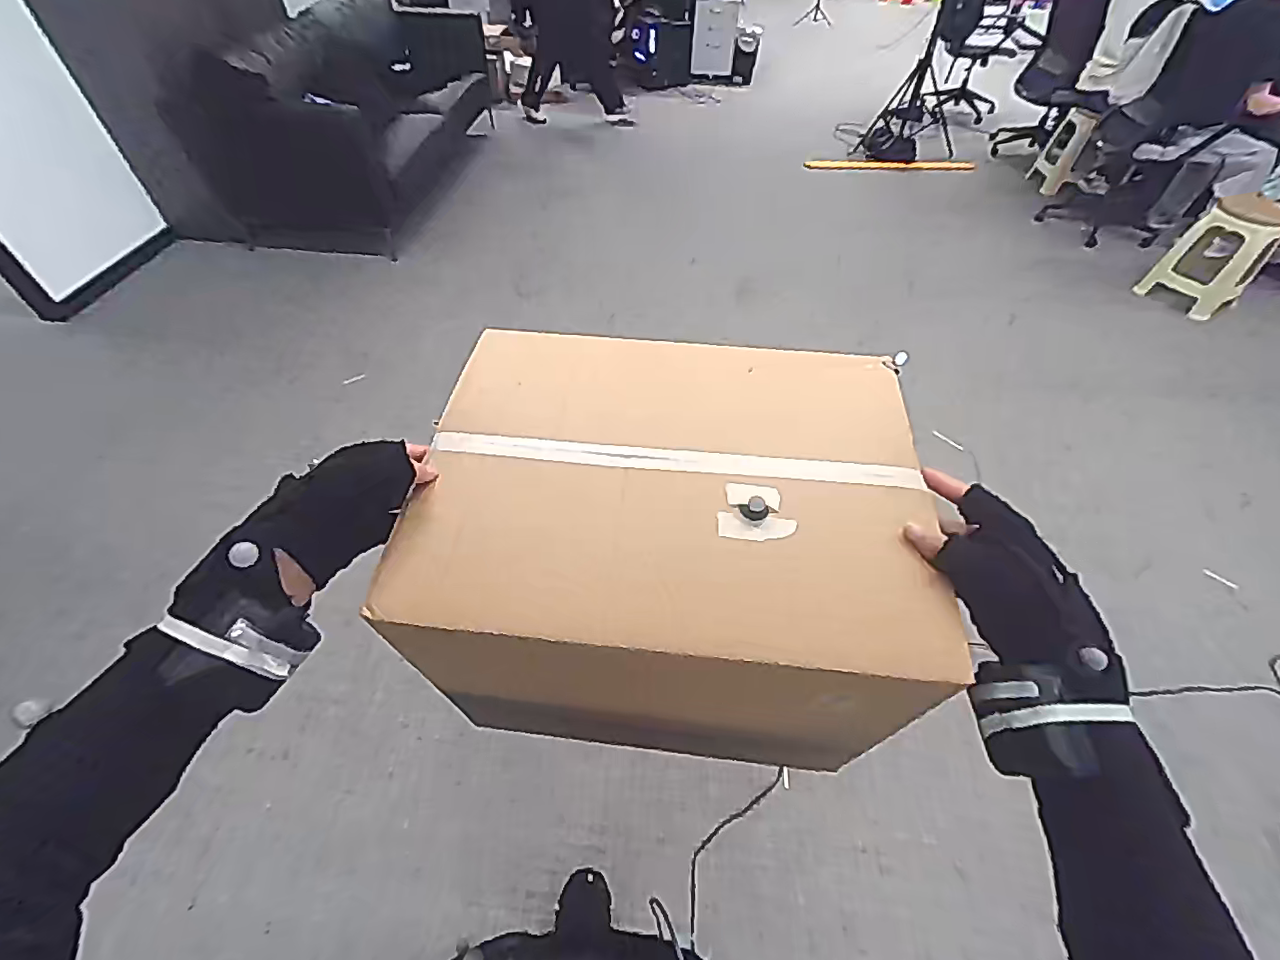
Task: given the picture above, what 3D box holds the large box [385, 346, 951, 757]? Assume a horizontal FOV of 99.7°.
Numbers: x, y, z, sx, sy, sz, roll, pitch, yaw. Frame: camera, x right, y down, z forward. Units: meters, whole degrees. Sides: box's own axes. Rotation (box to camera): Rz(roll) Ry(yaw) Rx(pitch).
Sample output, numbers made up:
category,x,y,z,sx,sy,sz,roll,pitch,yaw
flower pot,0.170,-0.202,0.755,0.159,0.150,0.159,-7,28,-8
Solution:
category,x,y,z,sx,sy,sz,roll,pitch,yaw
large box,0.026,0.082,0.579,0.408,0.320,0.320,5,53,4
